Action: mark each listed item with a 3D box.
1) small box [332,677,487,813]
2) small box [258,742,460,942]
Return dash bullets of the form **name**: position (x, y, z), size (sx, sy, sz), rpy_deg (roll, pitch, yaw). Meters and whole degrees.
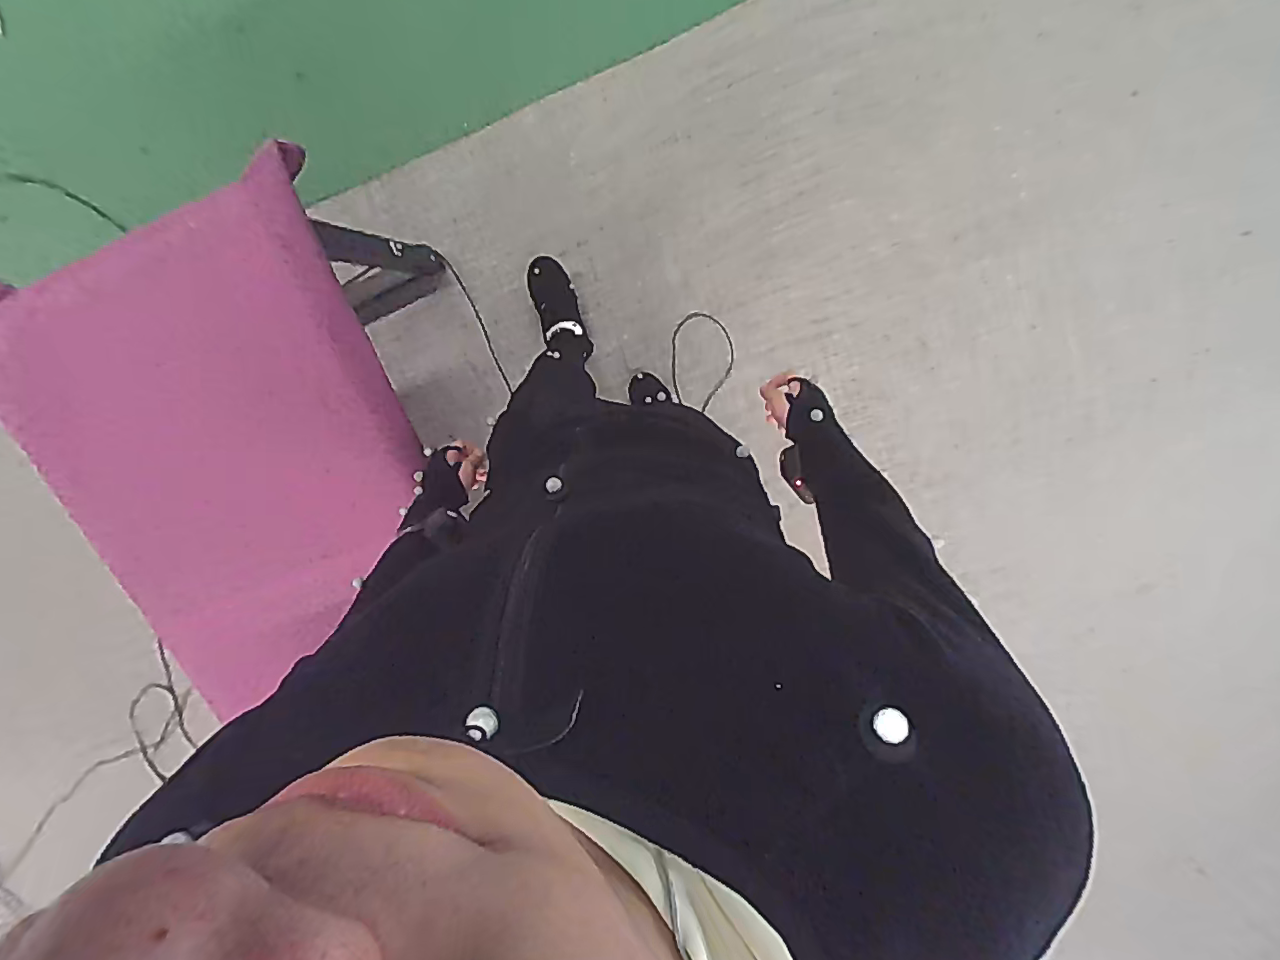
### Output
- **small box**: position (-0.396, 0.488, 0.974), size (0.179, 0.176, 0.168), rpy_deg (-22, 105, 10)
- **small box**: position (-0.408, 0.536, 0.817), size (0.179, 0.176, 0.168), rpy_deg (-21, 105, 9)
